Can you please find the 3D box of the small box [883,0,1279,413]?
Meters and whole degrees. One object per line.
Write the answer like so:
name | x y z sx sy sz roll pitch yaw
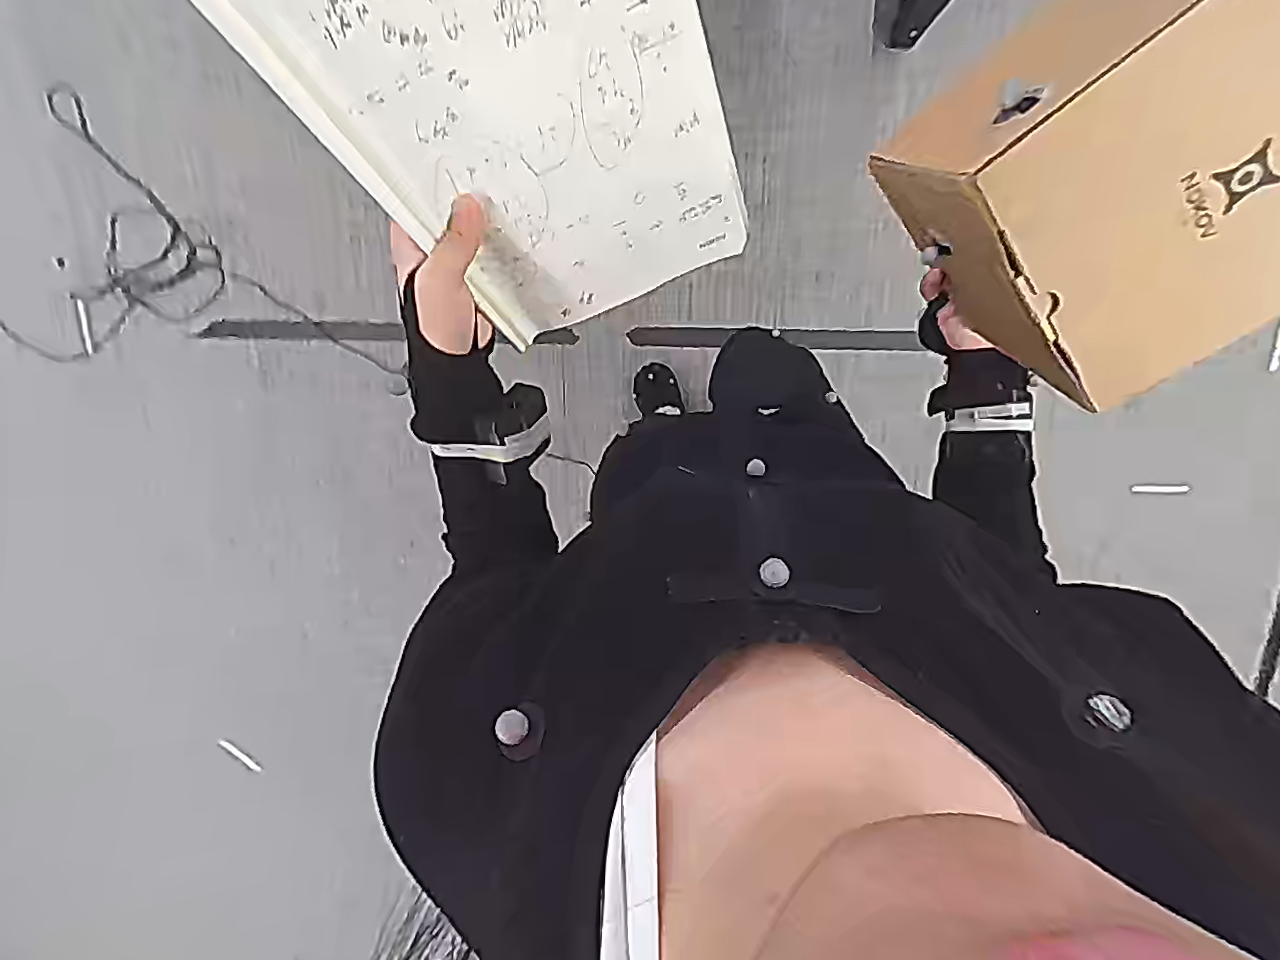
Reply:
small box | 0.279 -0.179 0.314 0.179 0.176 0.168 -36 115 24

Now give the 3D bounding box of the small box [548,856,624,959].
small box | -0.130 1.075 1.349 0.168 0.176 0.179 -3 104 2
